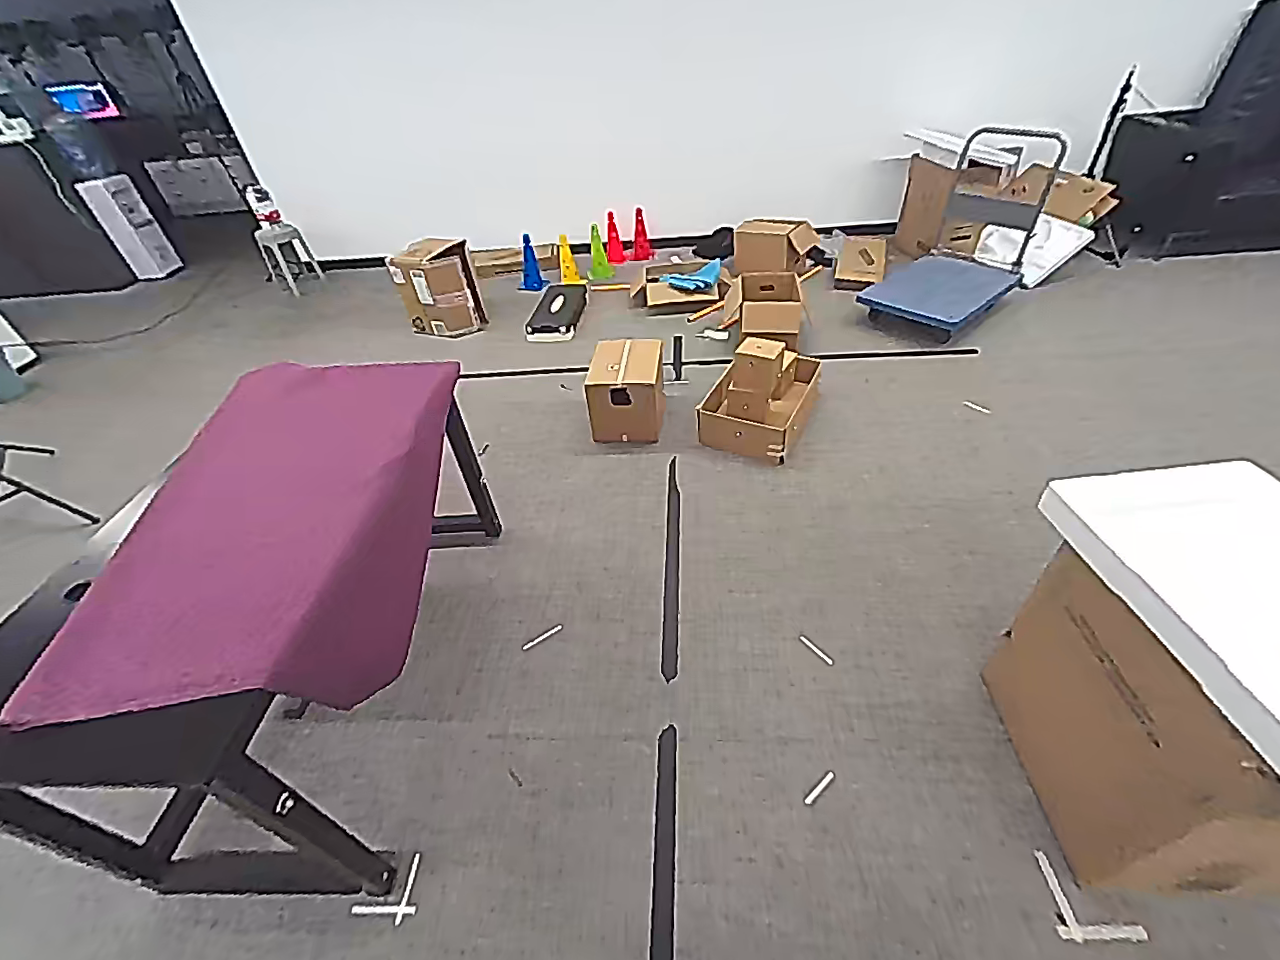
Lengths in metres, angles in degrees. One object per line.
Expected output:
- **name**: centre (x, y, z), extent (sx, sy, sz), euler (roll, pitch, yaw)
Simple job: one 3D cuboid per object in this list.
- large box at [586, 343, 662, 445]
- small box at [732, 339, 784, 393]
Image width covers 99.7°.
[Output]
- **large box**: centre (-0.058, -0.409, 2.551), extent (0.320, 0.320, 0.408), euler (-1, 42, 7)
- **small box**: centre (0.514, -0.499, 2.368), extent (0.179, 0.176, 0.168), euler (17, 44, 23)
